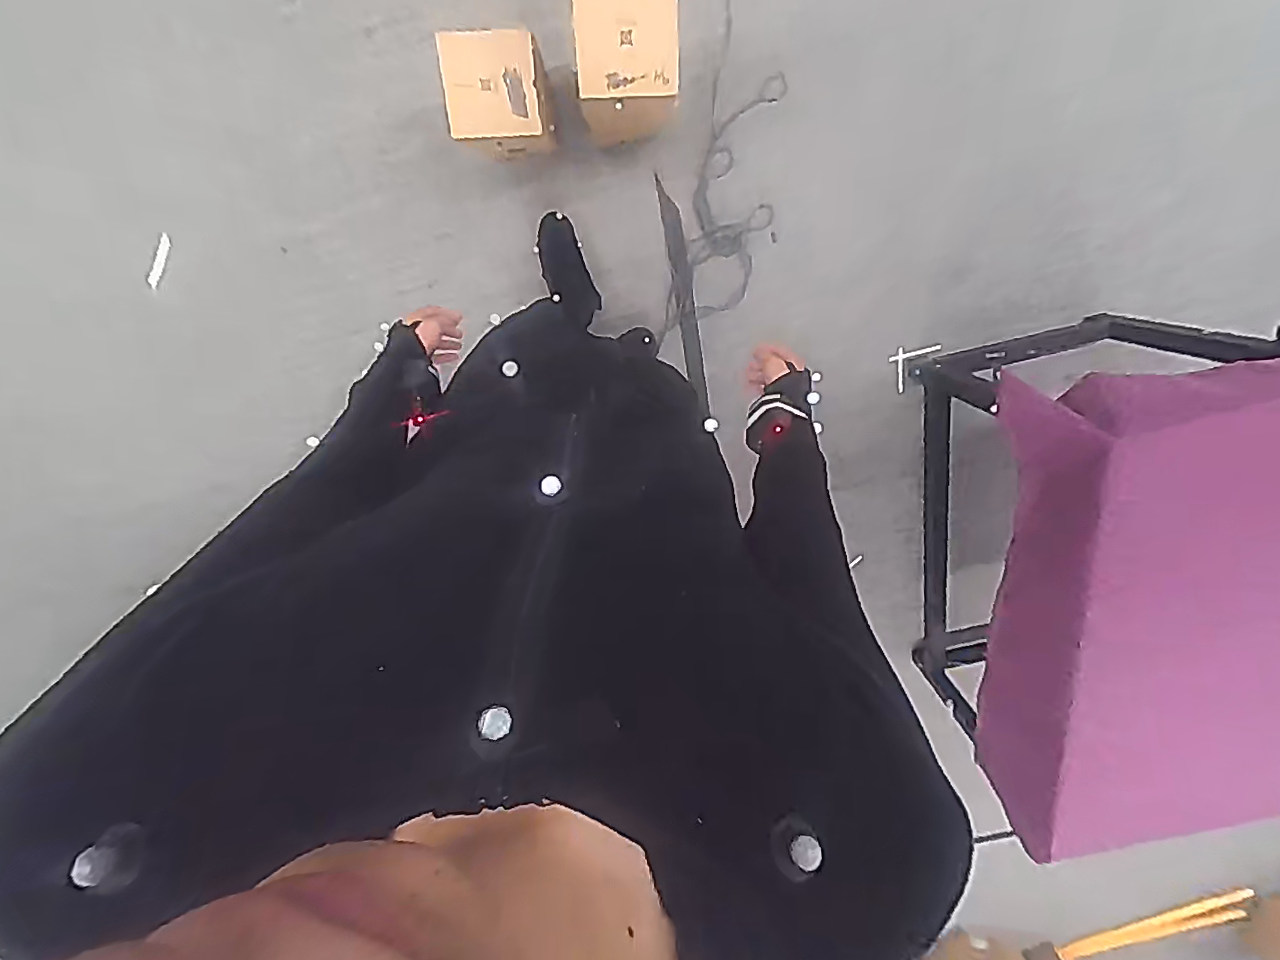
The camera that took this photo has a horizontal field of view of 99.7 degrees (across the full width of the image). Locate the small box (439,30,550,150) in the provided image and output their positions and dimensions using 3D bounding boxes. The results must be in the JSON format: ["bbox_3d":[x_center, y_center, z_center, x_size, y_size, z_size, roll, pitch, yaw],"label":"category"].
[{"bbox_3d":[-0.276,-0.764,1.073,0.179,0.176,0.168,-3,114,-1],"label":"small box"}]

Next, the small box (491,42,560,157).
[{"bbox_3d":[-0.281,-0.846,1.216,0.168,0.176,0.179,-7,115,1],"label":"small box"}]

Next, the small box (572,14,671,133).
[{"bbox_3d":[-0.027,-0.808,1.072,0.179,0.176,0.168,-10,114,1],"label":"small box"}]

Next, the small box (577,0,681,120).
[{"bbox_3d":[-0.021,-0.739,0.924,0.168,0.176,0.179,-3,113,-1],"label":"small box"}]

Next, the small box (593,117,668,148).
[{"bbox_3d":[-0.036,-0.875,1.220,0.168,0.176,0.179,-11,115,2],"label":"small box"}]
